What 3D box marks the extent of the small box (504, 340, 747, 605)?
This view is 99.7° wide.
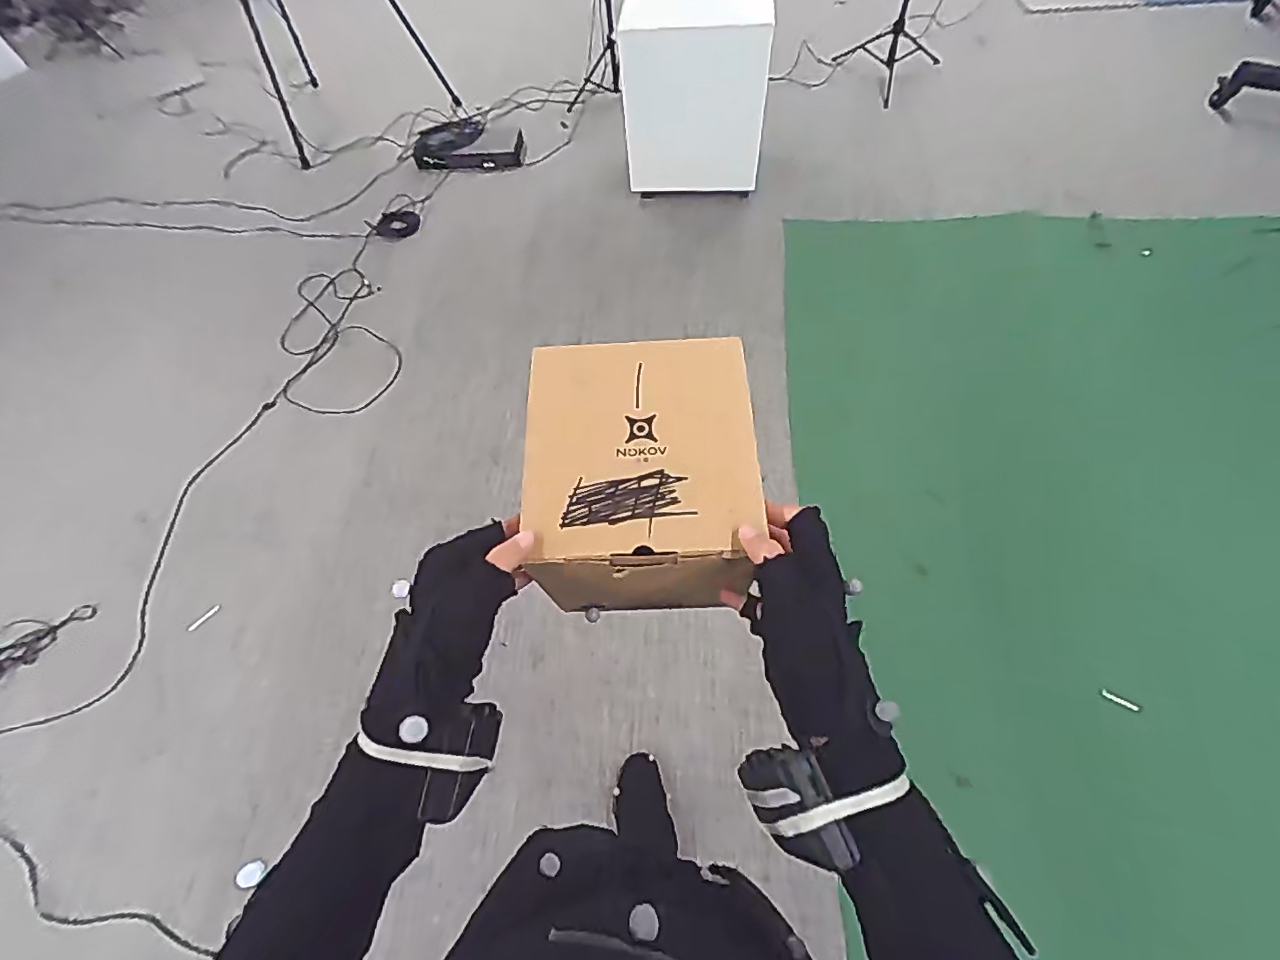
[{"bbox_3d":[-0.005,0.006,0.461,0.168,0.176,0.179,-2,64,2],"label":"small box"}]
